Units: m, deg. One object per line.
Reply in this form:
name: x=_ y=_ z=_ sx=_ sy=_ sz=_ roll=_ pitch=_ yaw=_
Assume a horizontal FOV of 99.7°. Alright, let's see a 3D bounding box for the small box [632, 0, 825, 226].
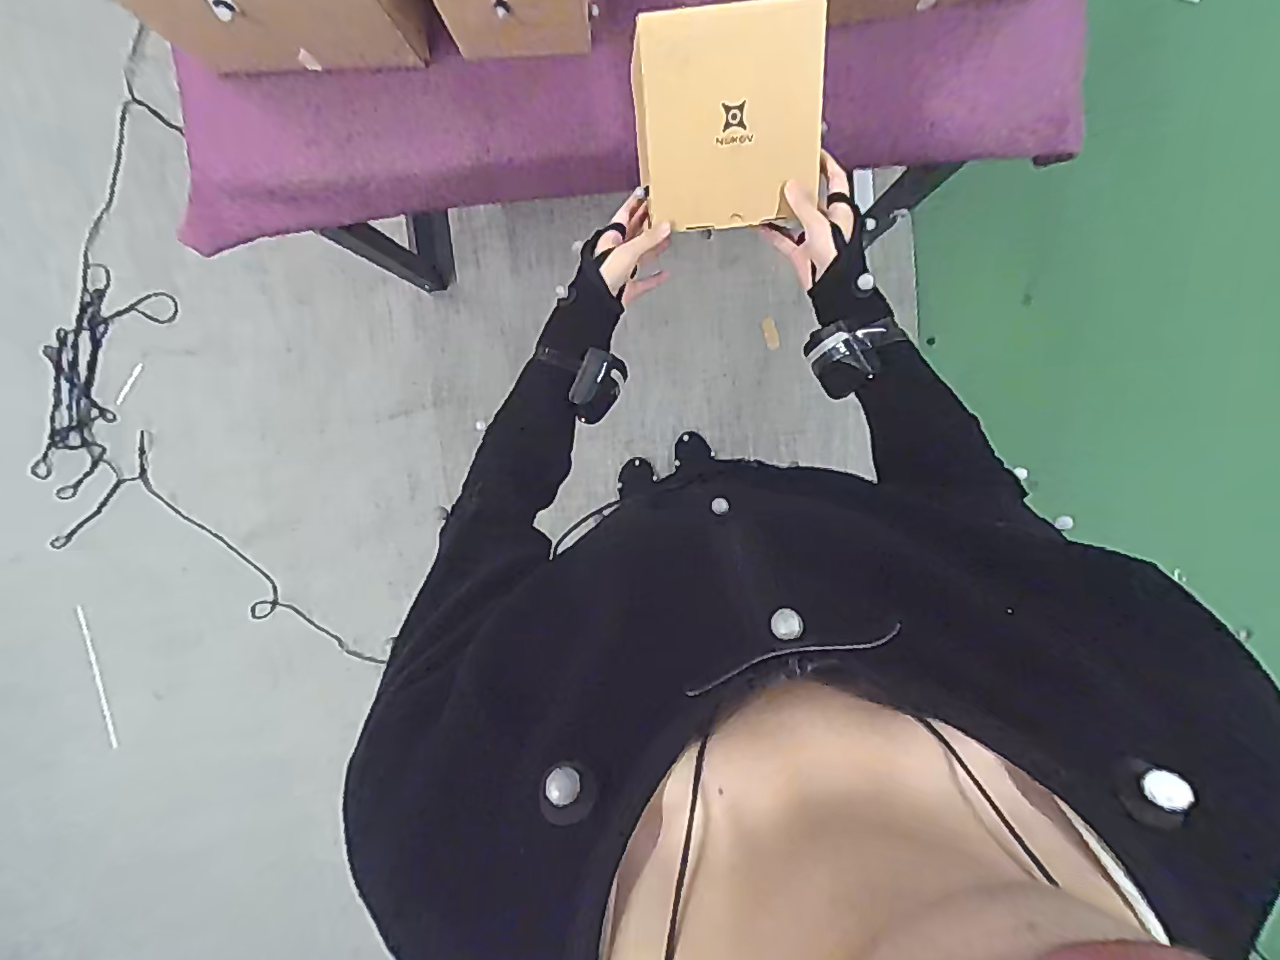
small box: x=0.082 y=-0.371 z=0.569 sx=0.168 sy=0.176 sz=0.179 roll=-6 pitch=115 yaw=0
